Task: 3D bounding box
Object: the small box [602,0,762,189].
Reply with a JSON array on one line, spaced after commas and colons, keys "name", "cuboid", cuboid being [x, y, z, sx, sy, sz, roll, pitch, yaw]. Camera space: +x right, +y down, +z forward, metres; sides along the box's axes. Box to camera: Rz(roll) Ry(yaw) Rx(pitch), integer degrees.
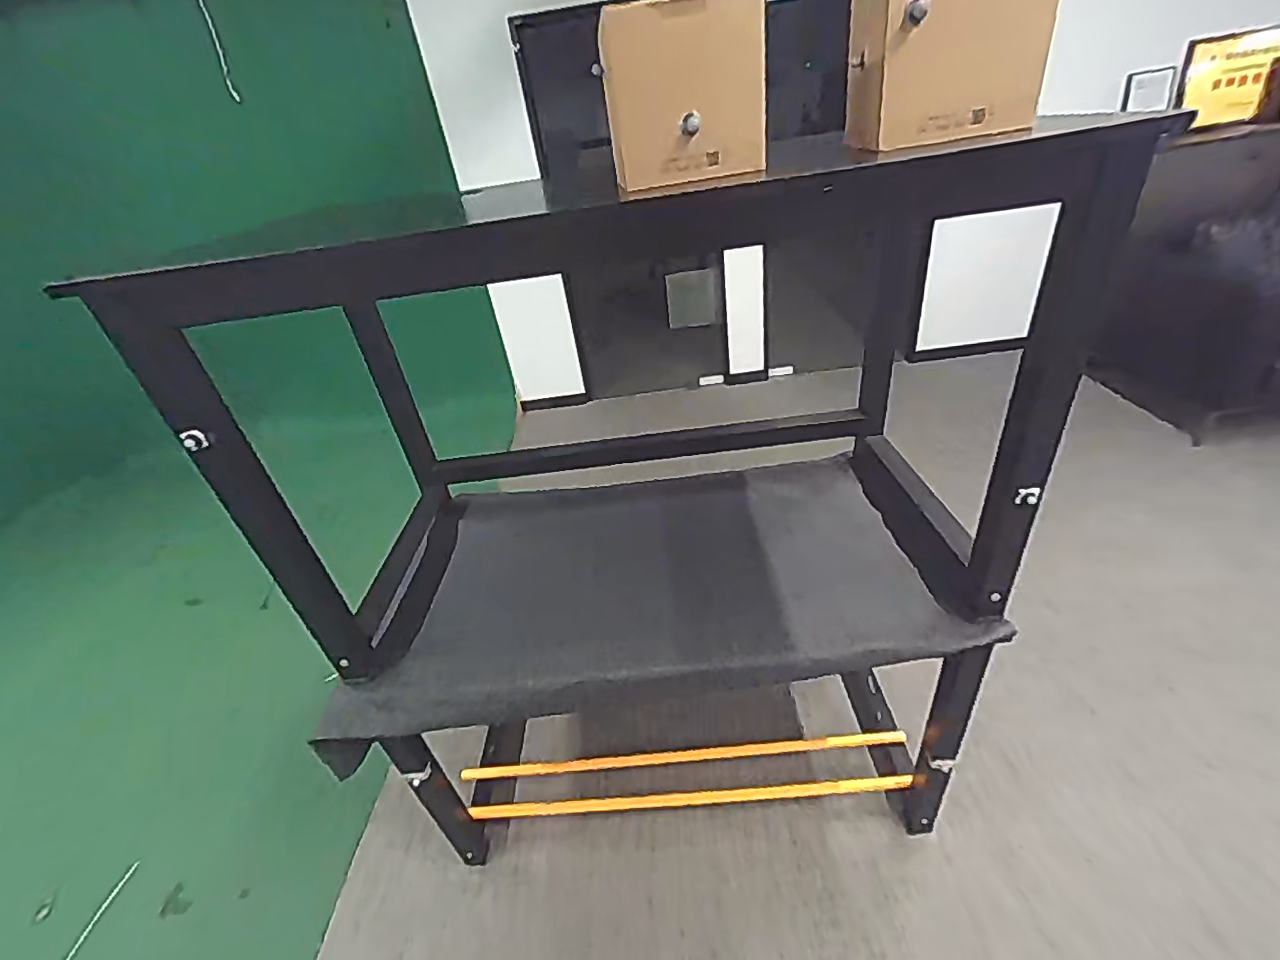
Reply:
[{"name": "small box", "cuboid": [0.047, -0.464, 0.664, 0.168, 0.176, 0.179, -10, 32, 0]}]
